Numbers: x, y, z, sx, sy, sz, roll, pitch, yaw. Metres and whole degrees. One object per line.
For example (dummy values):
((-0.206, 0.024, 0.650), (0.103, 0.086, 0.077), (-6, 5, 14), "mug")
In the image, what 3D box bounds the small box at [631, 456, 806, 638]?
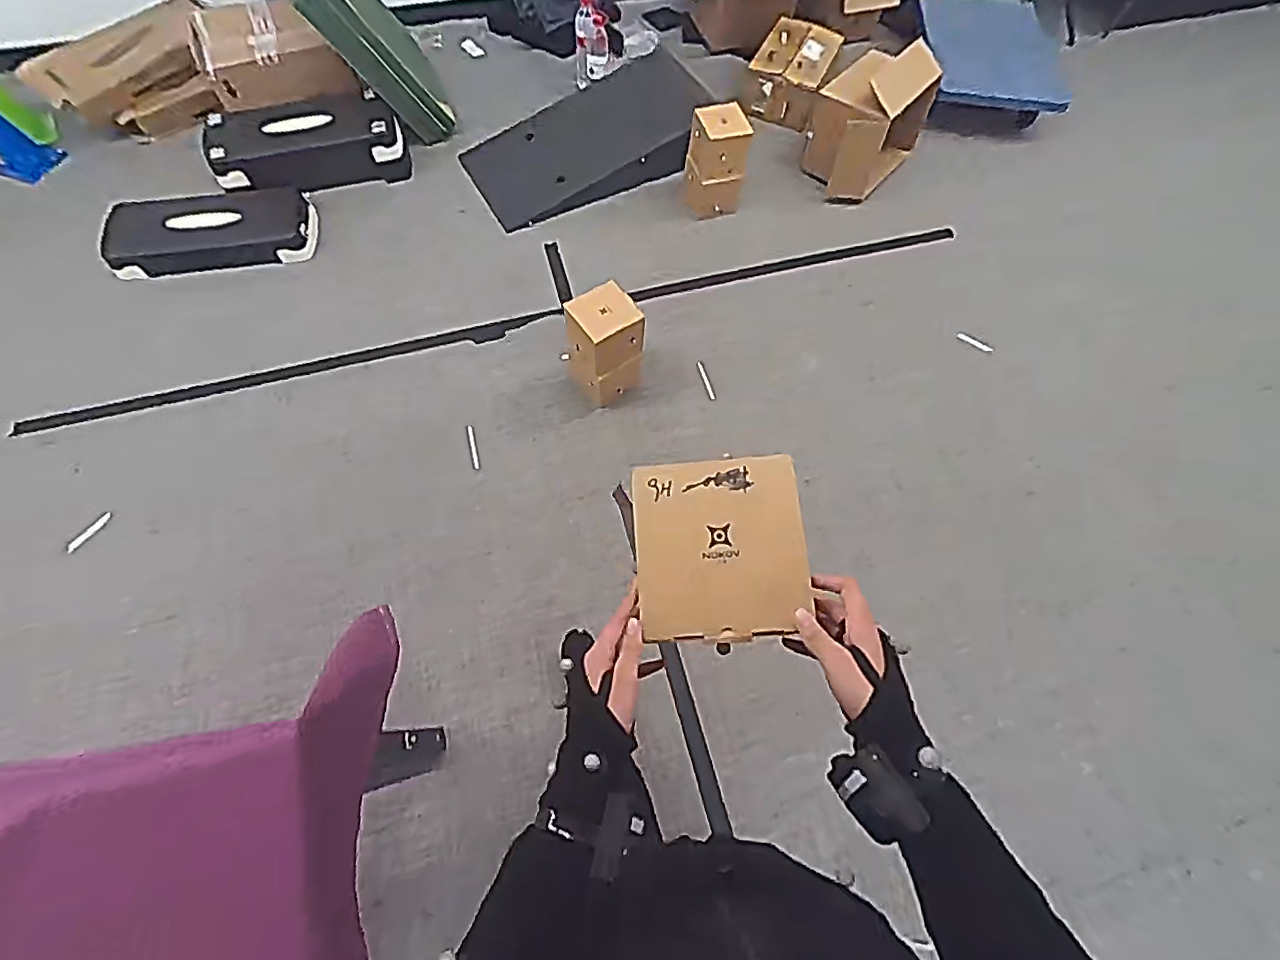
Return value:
((0.082, 0.083, 0.612), (0.168, 0.176, 0.179), (-4, 74, 4), "small box")
